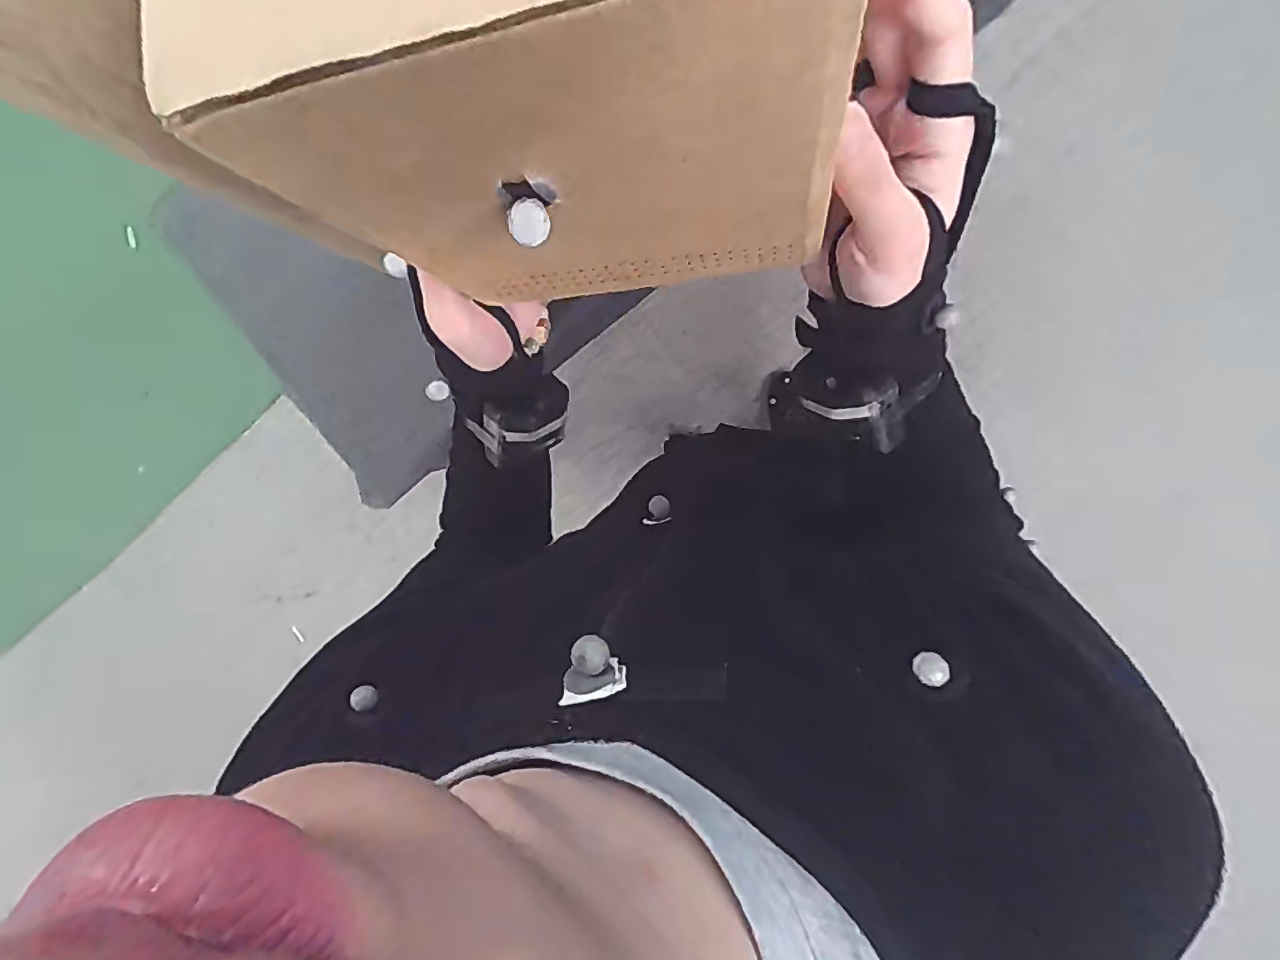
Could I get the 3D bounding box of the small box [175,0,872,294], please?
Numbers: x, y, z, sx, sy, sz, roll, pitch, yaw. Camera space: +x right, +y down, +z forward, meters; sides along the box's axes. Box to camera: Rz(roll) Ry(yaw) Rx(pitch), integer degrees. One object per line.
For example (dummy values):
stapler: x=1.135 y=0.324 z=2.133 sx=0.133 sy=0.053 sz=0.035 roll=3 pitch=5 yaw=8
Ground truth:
small box: x=-0.017 y=-0.177 z=0.193 sx=0.179 sy=0.176 sz=0.168 roll=-2 pitch=93 yaw=15
